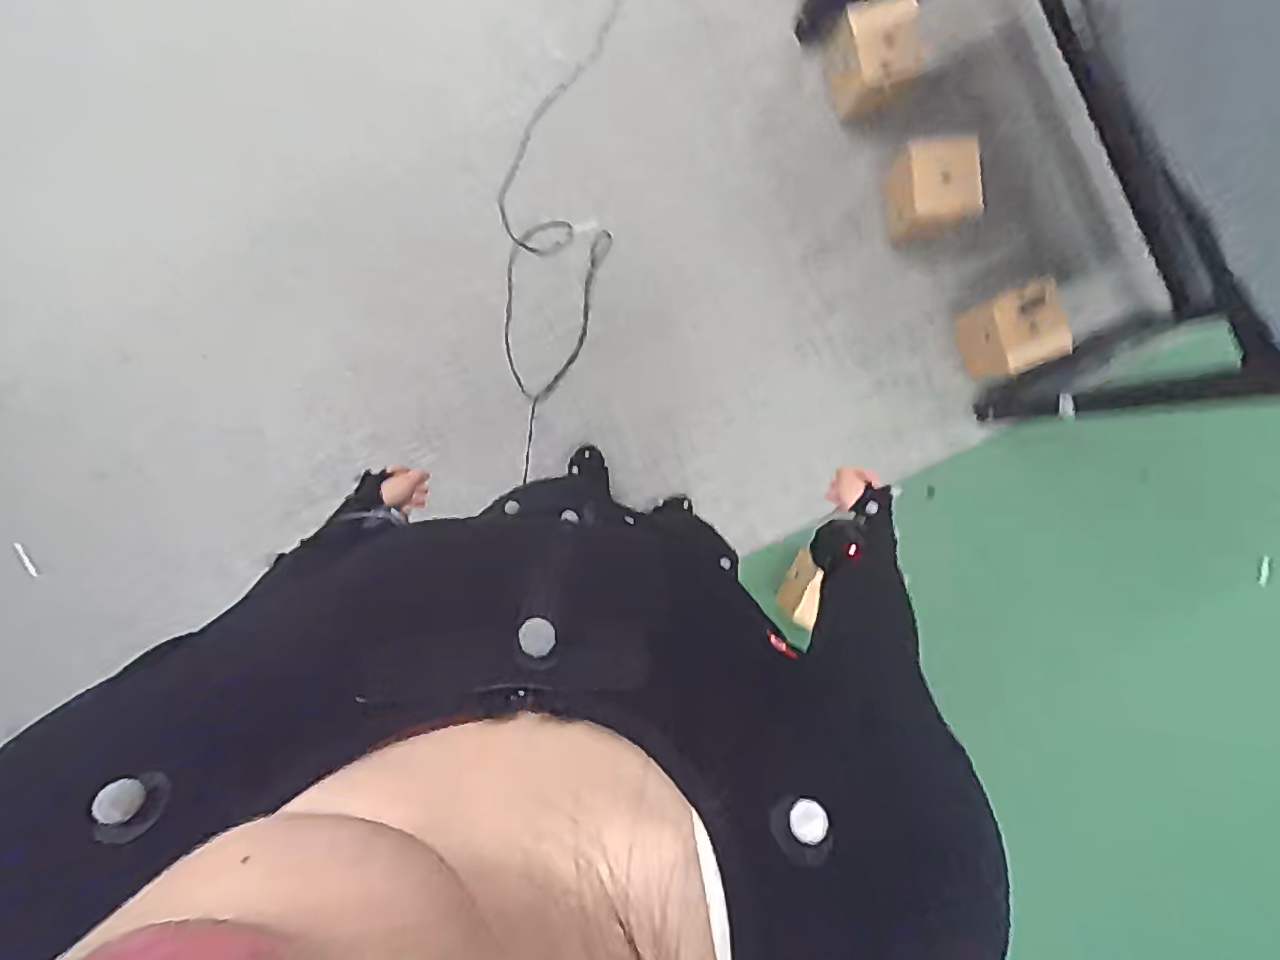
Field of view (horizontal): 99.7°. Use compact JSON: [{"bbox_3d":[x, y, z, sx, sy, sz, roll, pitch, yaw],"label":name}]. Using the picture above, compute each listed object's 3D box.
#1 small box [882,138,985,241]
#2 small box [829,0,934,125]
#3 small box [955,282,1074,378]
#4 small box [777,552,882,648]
[{"bbox_3d":[0.734,-0.721,1.365,0.168,0.176,0.179,-6,92,-1],"label":"small box"},{"bbox_3d":[0.592,-1.037,1.348,0.168,0.176,0.179,-14,92,1],"label":"small box"},{"bbox_3d":[0.947,-0.376,1.384,0.168,0.176,0.179,-21,94,1],"label":"small box"},{"bbox_3d":[0.490,0.306,1.422,0.179,0.176,0.168,28,93,-1],"label":"small box"}]
